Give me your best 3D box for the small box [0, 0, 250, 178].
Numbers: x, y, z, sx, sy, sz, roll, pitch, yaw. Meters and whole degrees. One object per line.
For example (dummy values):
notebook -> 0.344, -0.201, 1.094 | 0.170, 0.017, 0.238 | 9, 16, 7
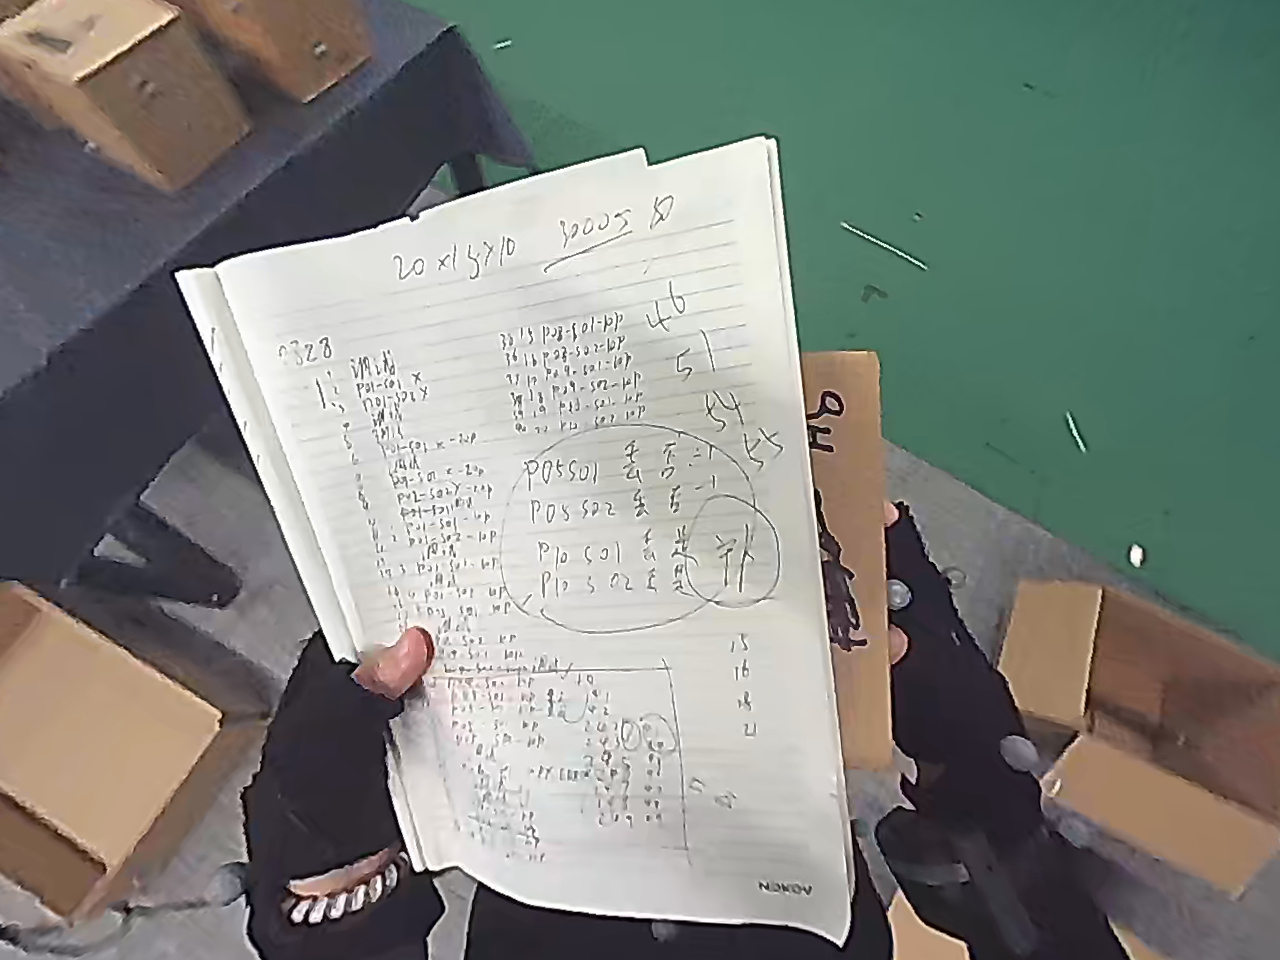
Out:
small box -> -0.736, -0.591, 0.796 | 0.168, 0.176, 0.179 | 30, 71, 7

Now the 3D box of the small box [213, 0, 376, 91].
small box -> -0.576, -0.782, 0.876 | 0.179, 0.176, 0.168 | 35, 72, 10
